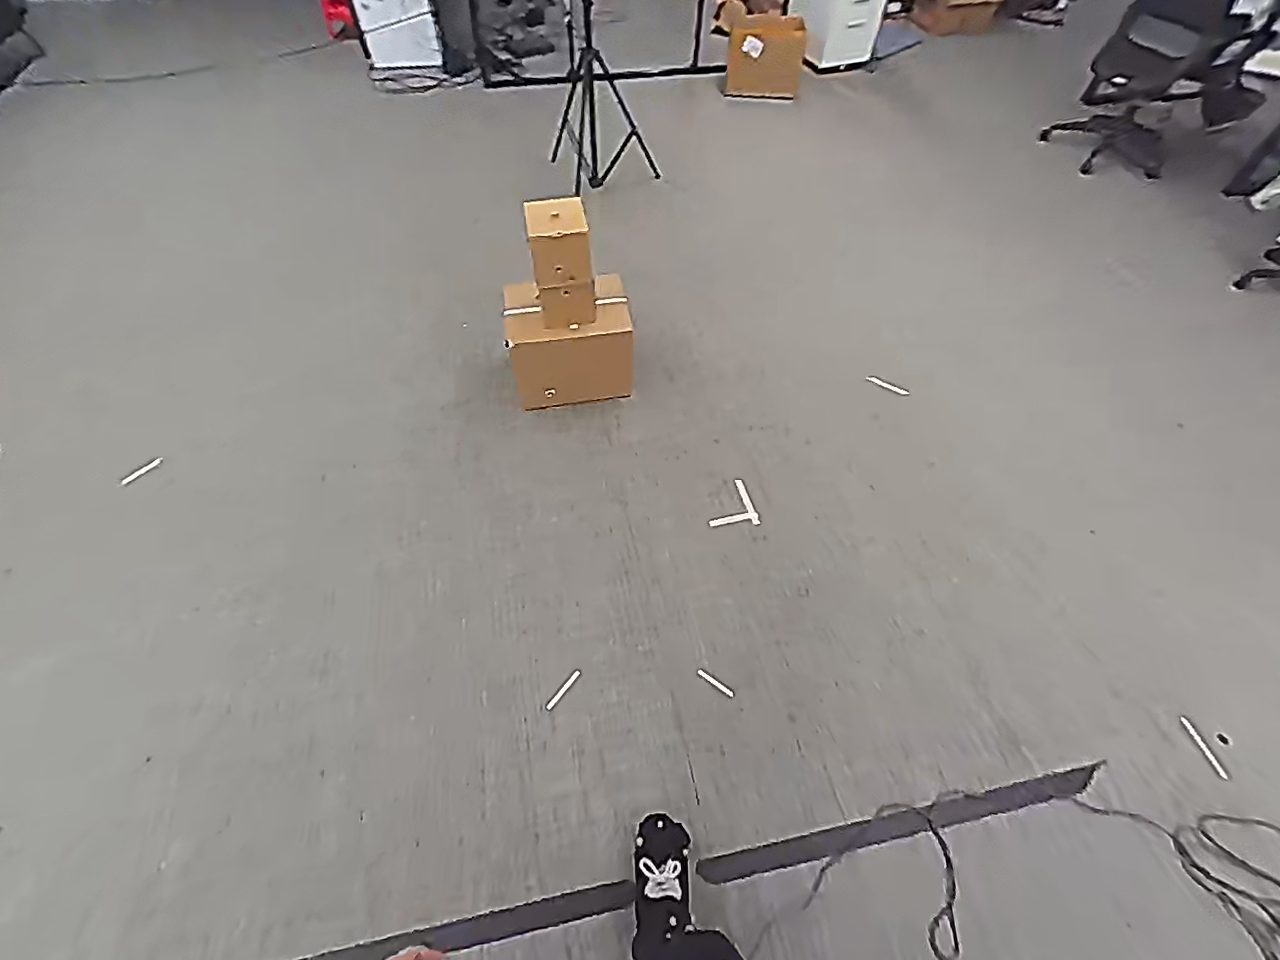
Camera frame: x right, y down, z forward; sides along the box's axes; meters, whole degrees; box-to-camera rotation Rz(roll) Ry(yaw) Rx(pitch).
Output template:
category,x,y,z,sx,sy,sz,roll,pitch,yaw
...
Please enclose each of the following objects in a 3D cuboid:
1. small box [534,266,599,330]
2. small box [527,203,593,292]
category,x,y,z,sx,sy,sz,roll,pitch,yaw
small box,-0.234,-0.600,1.732,0.179,0.176,0.168,-10,58,-9
small box,-0.234,-0.683,1.592,0.168,0.176,0.179,-10,58,-7
